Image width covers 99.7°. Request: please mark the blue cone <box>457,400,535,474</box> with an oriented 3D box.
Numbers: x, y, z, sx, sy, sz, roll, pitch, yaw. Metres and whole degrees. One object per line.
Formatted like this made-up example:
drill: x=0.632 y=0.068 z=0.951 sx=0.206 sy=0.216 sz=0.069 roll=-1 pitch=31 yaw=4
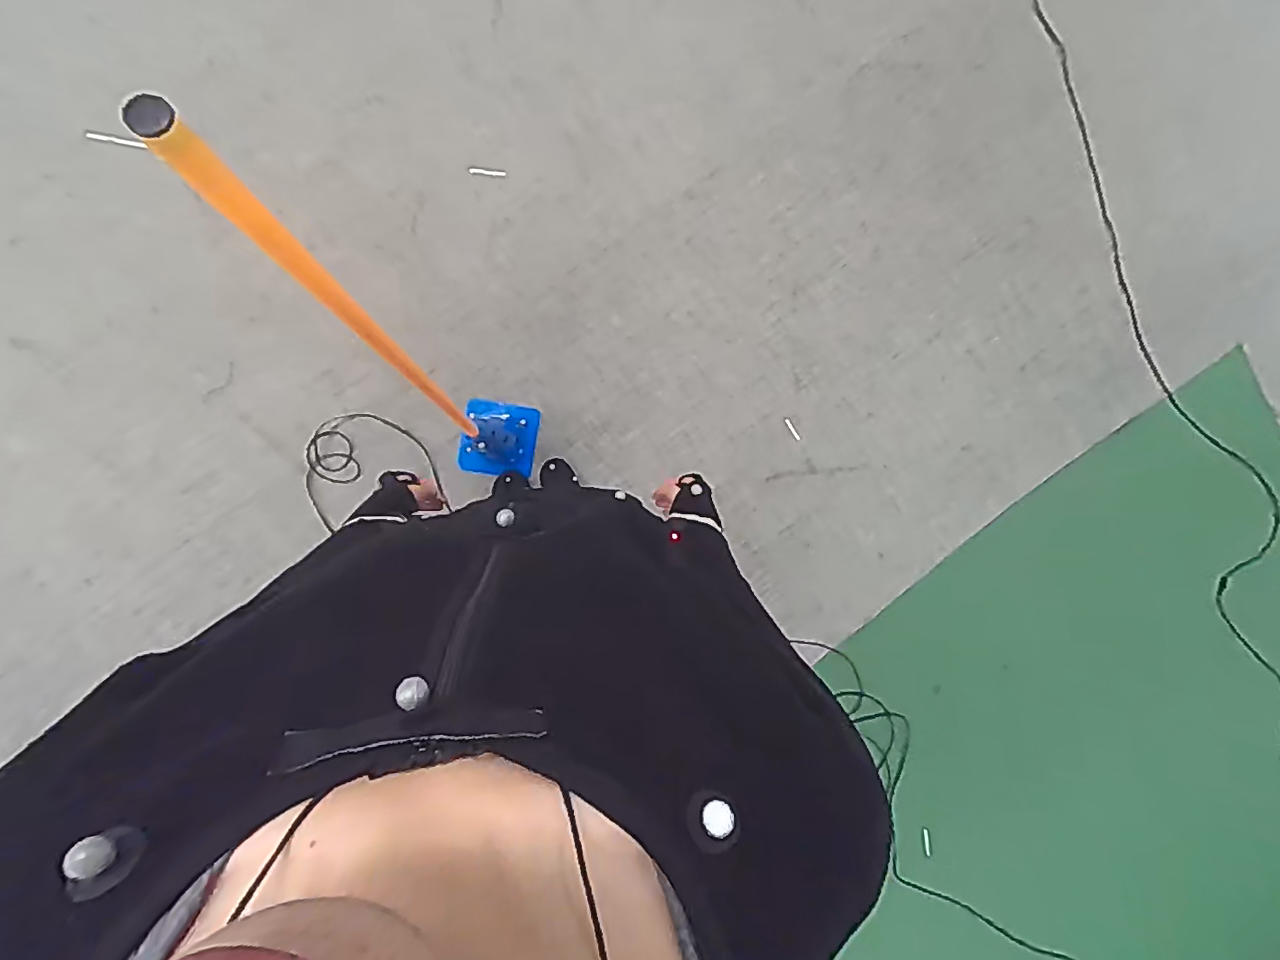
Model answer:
blue cone: x=-0.366 y=-0.112 z=1.284 sx=0.192 sy=0.380 sz=0.193 roll=8 pitch=90 yaw=-7
